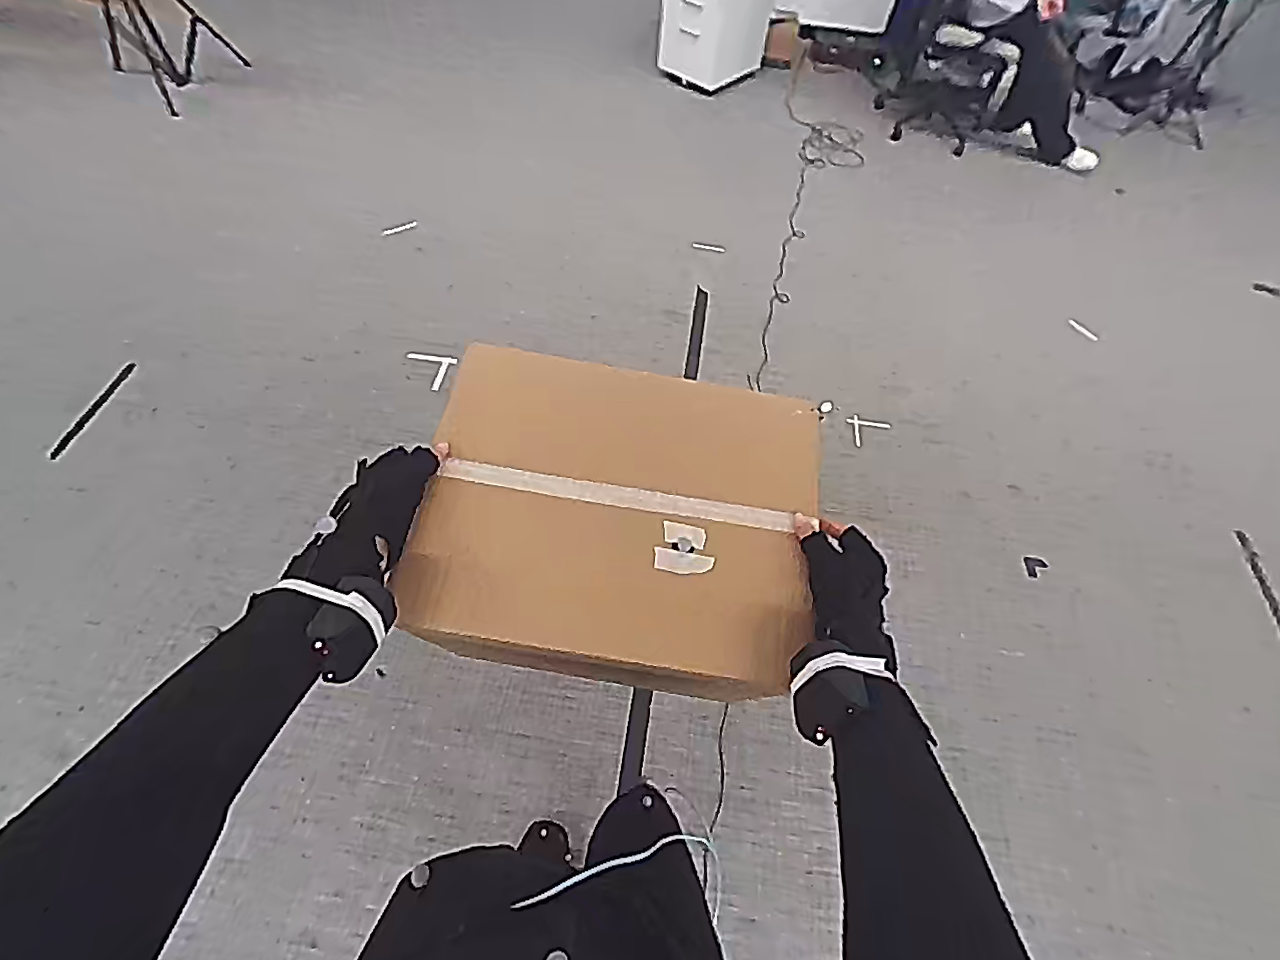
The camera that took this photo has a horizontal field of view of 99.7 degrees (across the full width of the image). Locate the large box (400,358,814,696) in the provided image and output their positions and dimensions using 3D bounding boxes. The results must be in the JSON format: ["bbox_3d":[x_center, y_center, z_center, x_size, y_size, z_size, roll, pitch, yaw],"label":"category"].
[{"bbox_3d":[-0.026,0.084,0.705,0.408,0.320,0.320,10,66,-1],"label":"large box"}]
